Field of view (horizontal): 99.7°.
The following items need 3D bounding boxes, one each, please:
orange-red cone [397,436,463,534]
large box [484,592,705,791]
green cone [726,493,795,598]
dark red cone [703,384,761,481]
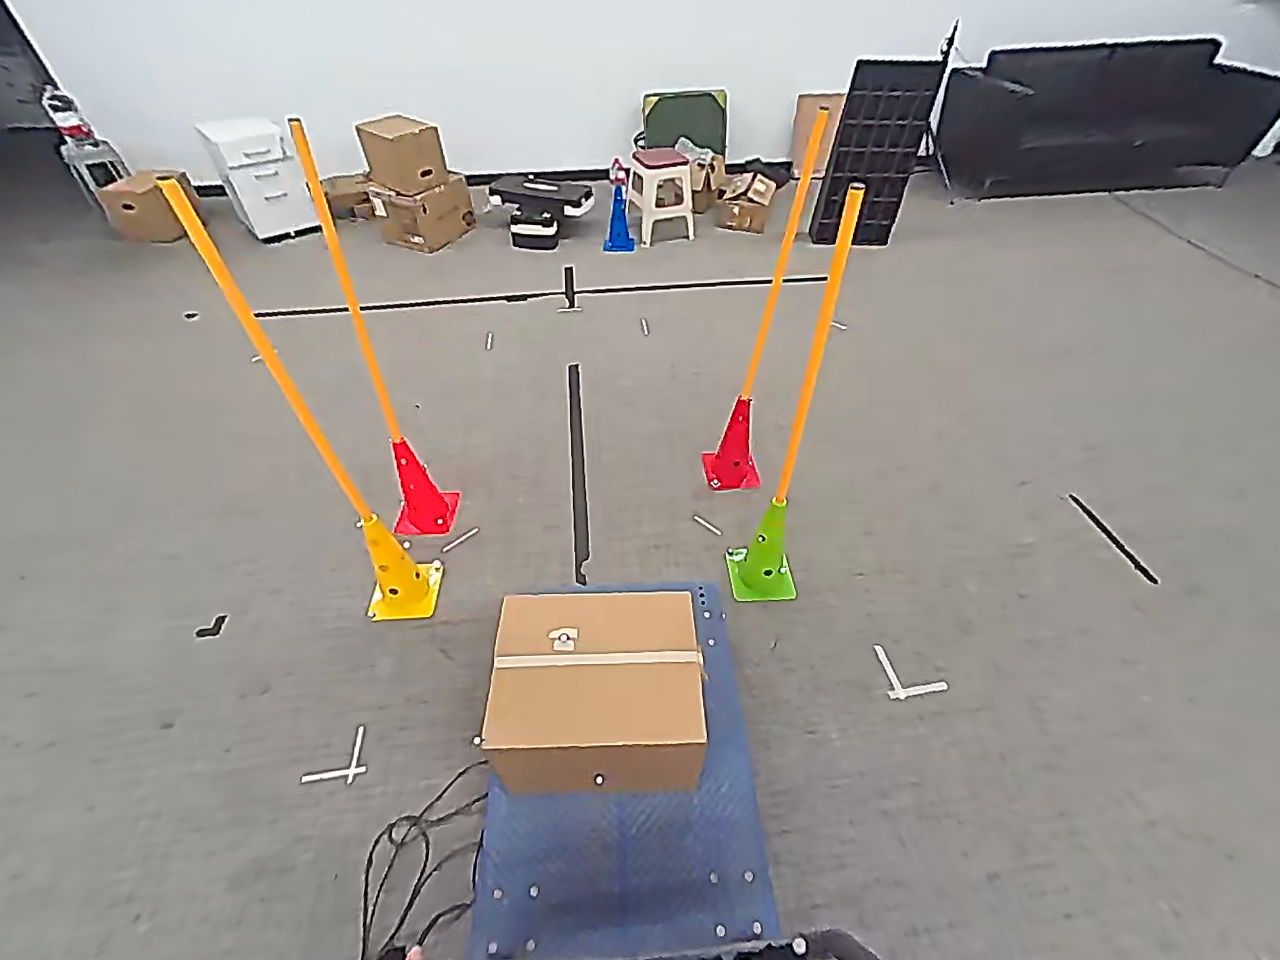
[{"bbox_3d":[-0.753,-0.006,1.834,0.198,0.360,0.199,1,44,0],"label":"orange-red cone"},{"bbox_3d":[-0.082,0.463,1.174,0.408,0.320,0.320,-2,46,0],"label":"large box"},{"bbox_3d":[0.397,0.180,1.650,0.202,0.368,0.200,-1,46,-3],"label":"green cone"},{"bbox_3d":[0.359,-0.179,1.974,0.201,0.394,0.202,-4,46,-6],"label":"dark red cone"}]
